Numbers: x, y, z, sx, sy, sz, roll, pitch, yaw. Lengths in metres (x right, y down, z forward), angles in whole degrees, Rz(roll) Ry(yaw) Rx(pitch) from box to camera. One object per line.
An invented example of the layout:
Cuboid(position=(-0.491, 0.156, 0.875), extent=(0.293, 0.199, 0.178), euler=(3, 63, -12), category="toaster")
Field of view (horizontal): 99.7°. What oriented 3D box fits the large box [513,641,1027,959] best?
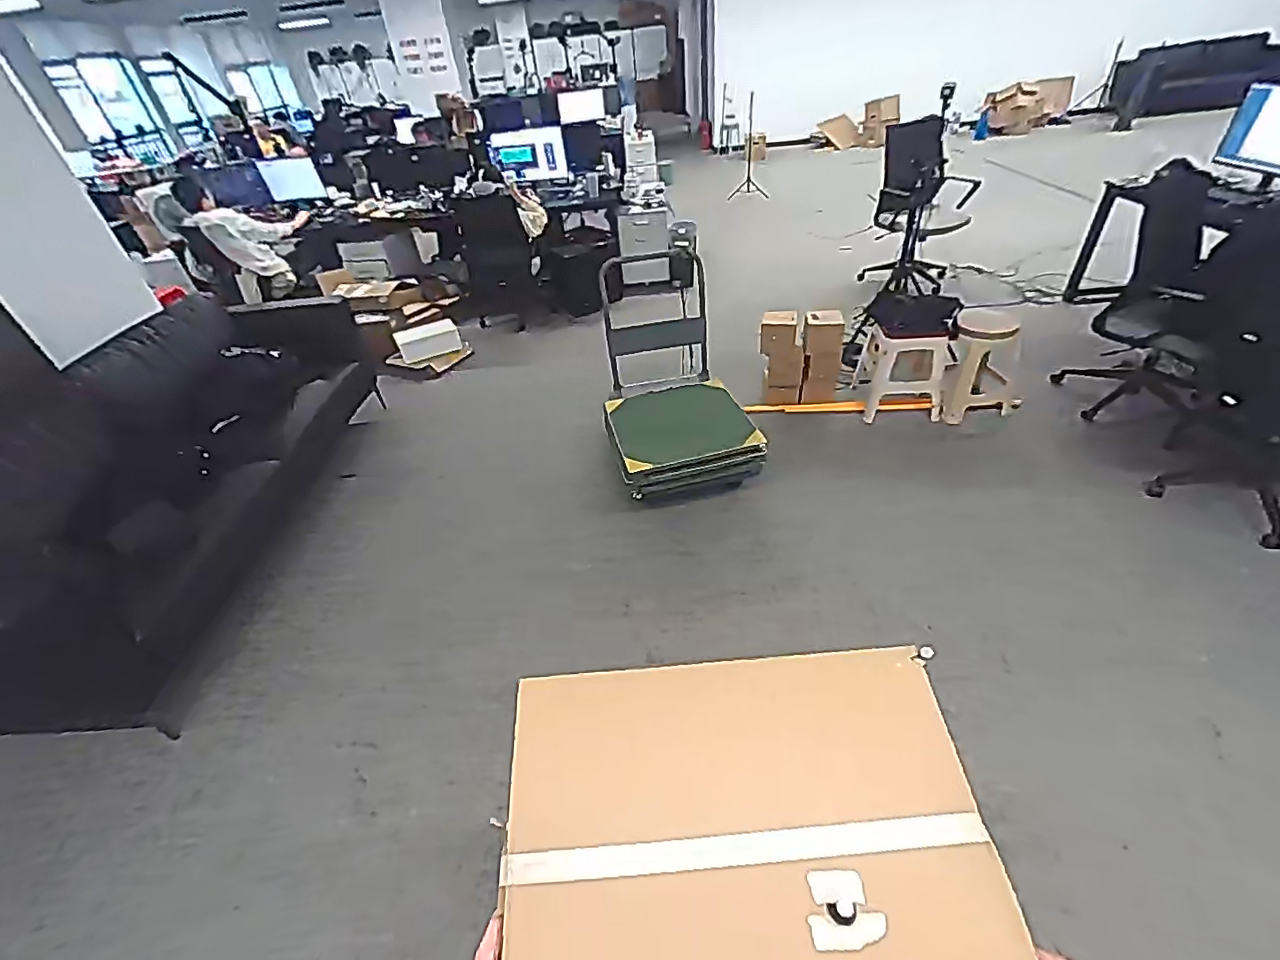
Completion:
Cuboid(position=(0.095, 0.397, 0.586), extent=(0.408, 0.320, 0.320), euler=(-5, 54, -1), category="large box")
